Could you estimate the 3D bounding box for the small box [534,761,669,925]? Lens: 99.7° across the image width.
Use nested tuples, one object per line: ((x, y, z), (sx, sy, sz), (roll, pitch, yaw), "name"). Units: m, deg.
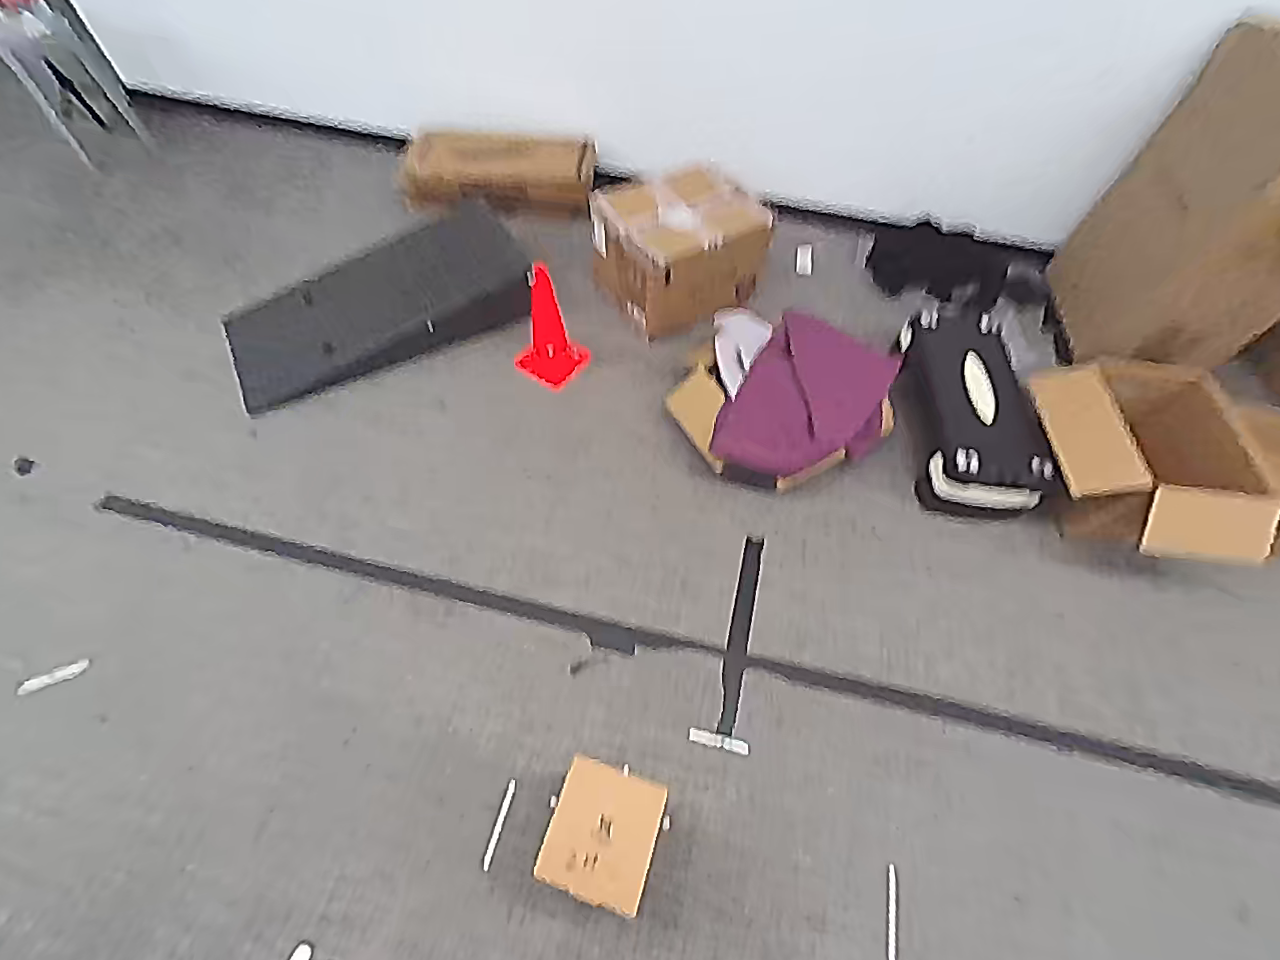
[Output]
((-0.061, 0.601, 0.909), (0.168, 0.176, 0.179), (17, 58, 9), "small box")
